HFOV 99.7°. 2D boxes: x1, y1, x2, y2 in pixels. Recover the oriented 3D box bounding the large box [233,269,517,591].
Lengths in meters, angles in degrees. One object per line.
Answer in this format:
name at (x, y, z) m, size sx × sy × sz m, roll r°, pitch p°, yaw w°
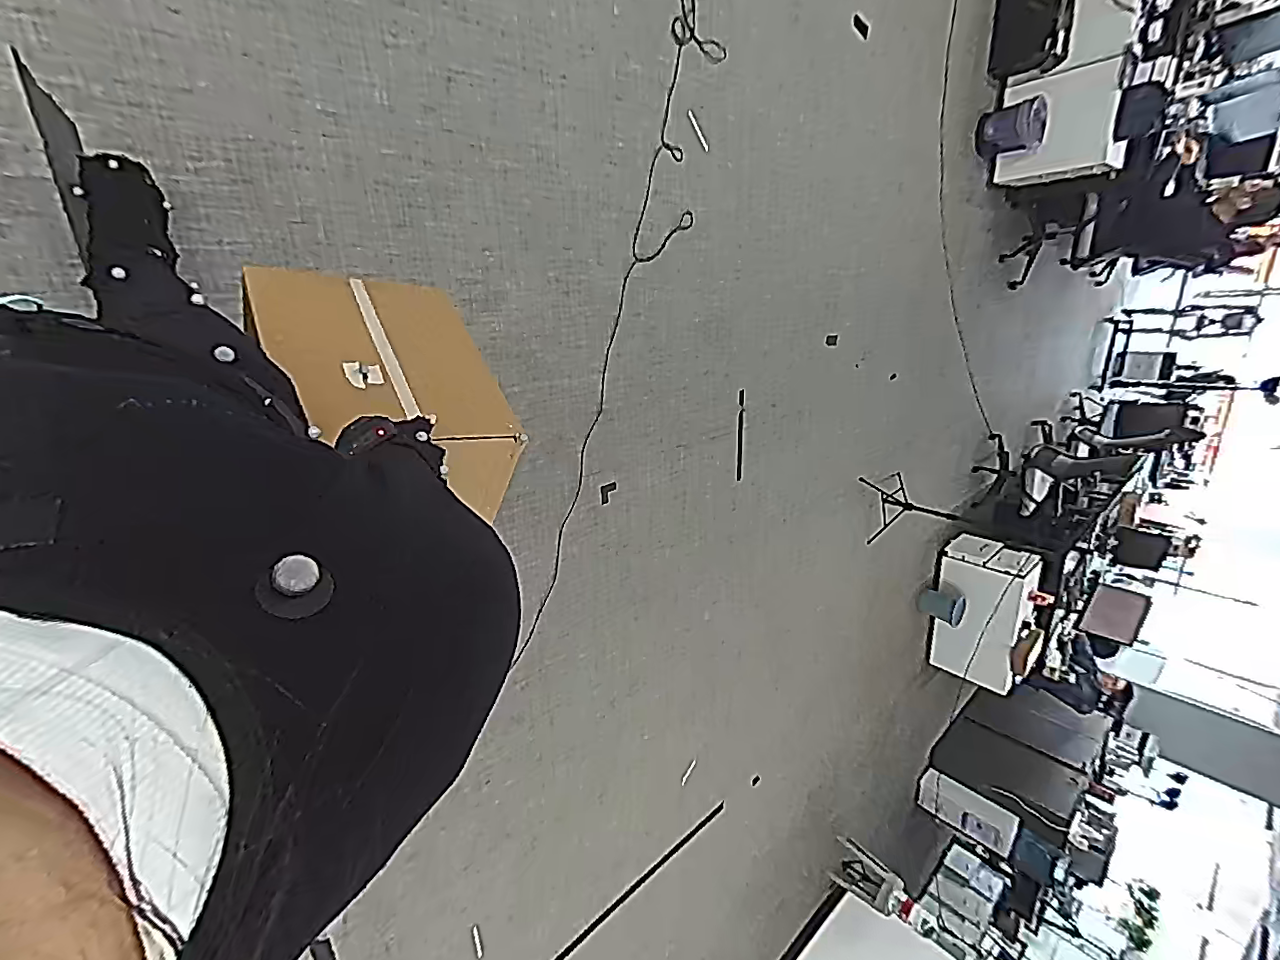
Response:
large box at (-0.462, -0.088, 0.907) m, size 0.320 × 0.408 × 0.320 m, roll -7°, pitch 142°, yaw -38°
